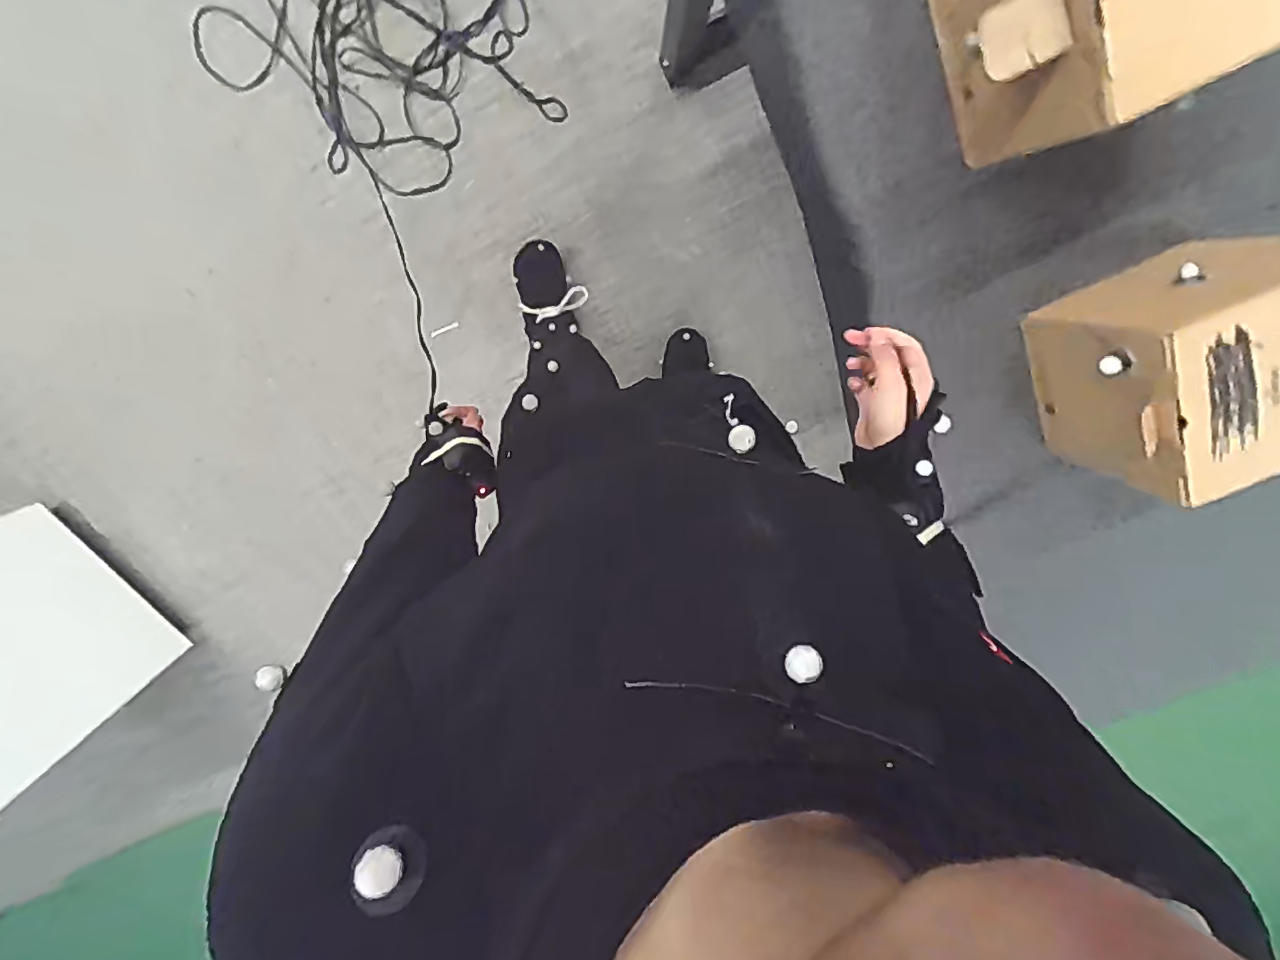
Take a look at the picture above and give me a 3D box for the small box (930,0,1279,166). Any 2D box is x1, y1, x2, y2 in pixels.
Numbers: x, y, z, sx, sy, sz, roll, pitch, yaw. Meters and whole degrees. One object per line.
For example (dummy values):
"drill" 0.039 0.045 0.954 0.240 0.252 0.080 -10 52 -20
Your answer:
"small box" 0.360 -0.367 0.404 0.179 0.176 0.168 -25 111 8
